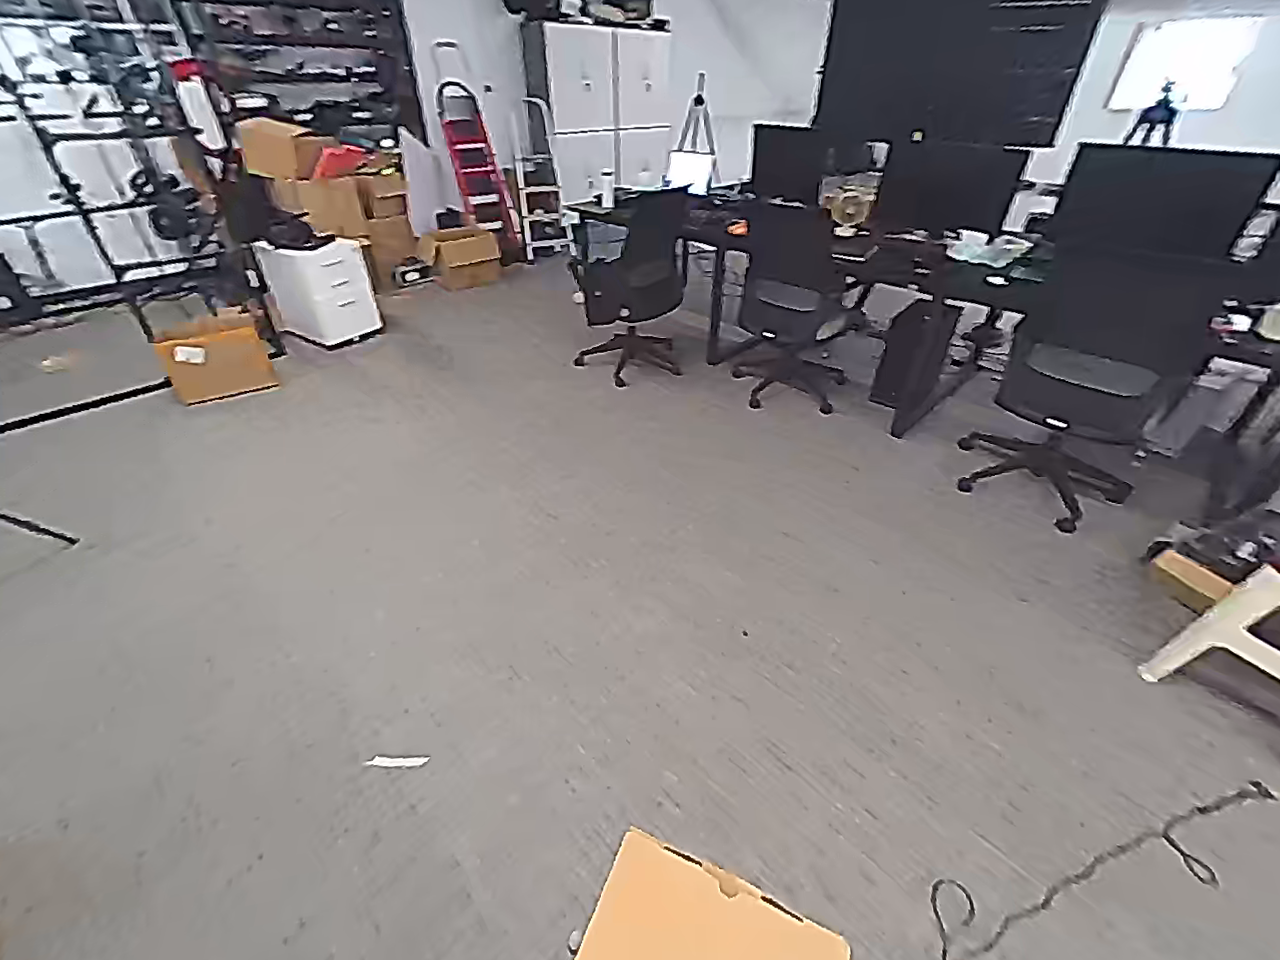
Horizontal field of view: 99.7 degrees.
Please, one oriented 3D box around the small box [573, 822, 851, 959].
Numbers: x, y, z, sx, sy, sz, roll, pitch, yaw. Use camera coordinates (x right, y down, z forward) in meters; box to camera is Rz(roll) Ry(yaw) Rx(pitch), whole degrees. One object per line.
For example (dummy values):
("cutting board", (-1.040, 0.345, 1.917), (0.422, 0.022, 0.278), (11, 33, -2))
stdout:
("small box", (0.038, 0.391, 0.387), (0.168, 0.176, 0.179), (15, 51, 21))
